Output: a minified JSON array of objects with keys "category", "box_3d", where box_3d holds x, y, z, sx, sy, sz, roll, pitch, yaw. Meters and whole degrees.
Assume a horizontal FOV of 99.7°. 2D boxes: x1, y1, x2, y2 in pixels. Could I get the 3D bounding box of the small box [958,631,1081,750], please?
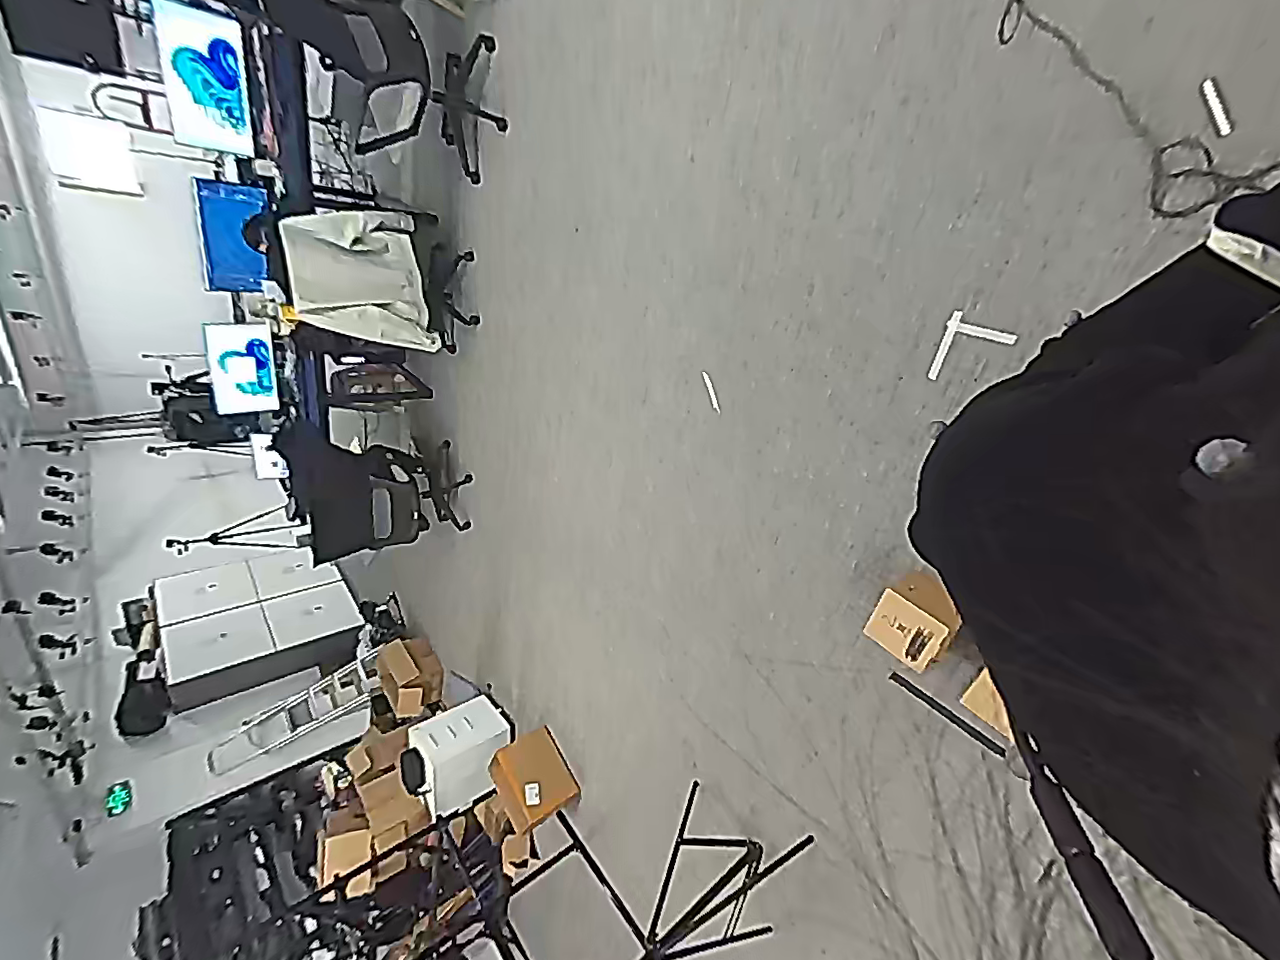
[{"category":"small box","box_3d":[0.919,0.501,1.306,0.168,0.176,0.179,38,126,36]}]
